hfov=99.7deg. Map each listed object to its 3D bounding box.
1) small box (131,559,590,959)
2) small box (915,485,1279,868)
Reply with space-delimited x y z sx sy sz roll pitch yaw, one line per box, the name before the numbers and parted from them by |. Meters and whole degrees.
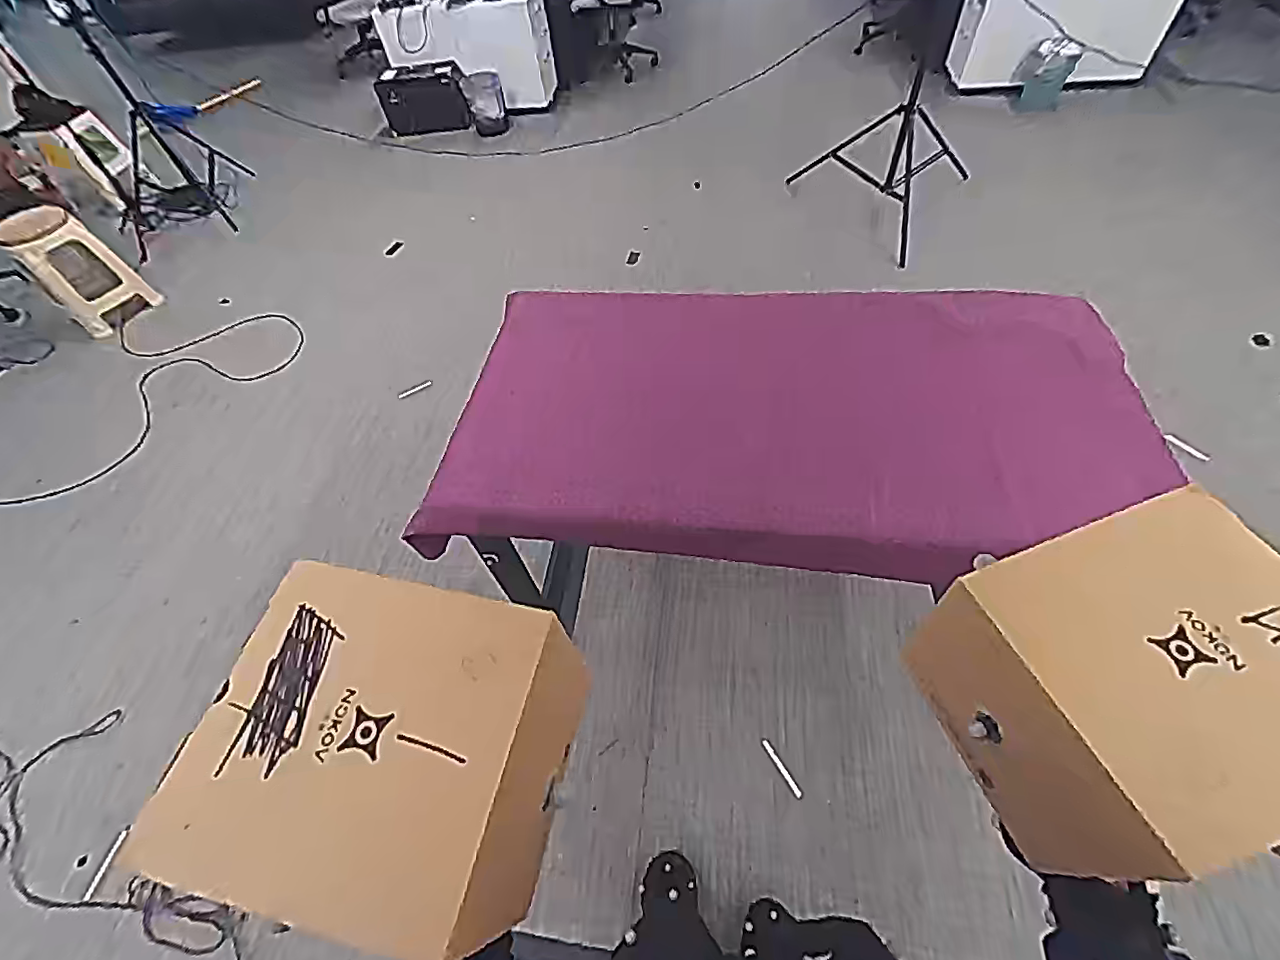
small box | -0.144 0.173 0.357 0.179 0.176 0.168 10 59 9
small box | 0.317 0.138 0.367 0.179 0.176 0.168 -20 55 -4
